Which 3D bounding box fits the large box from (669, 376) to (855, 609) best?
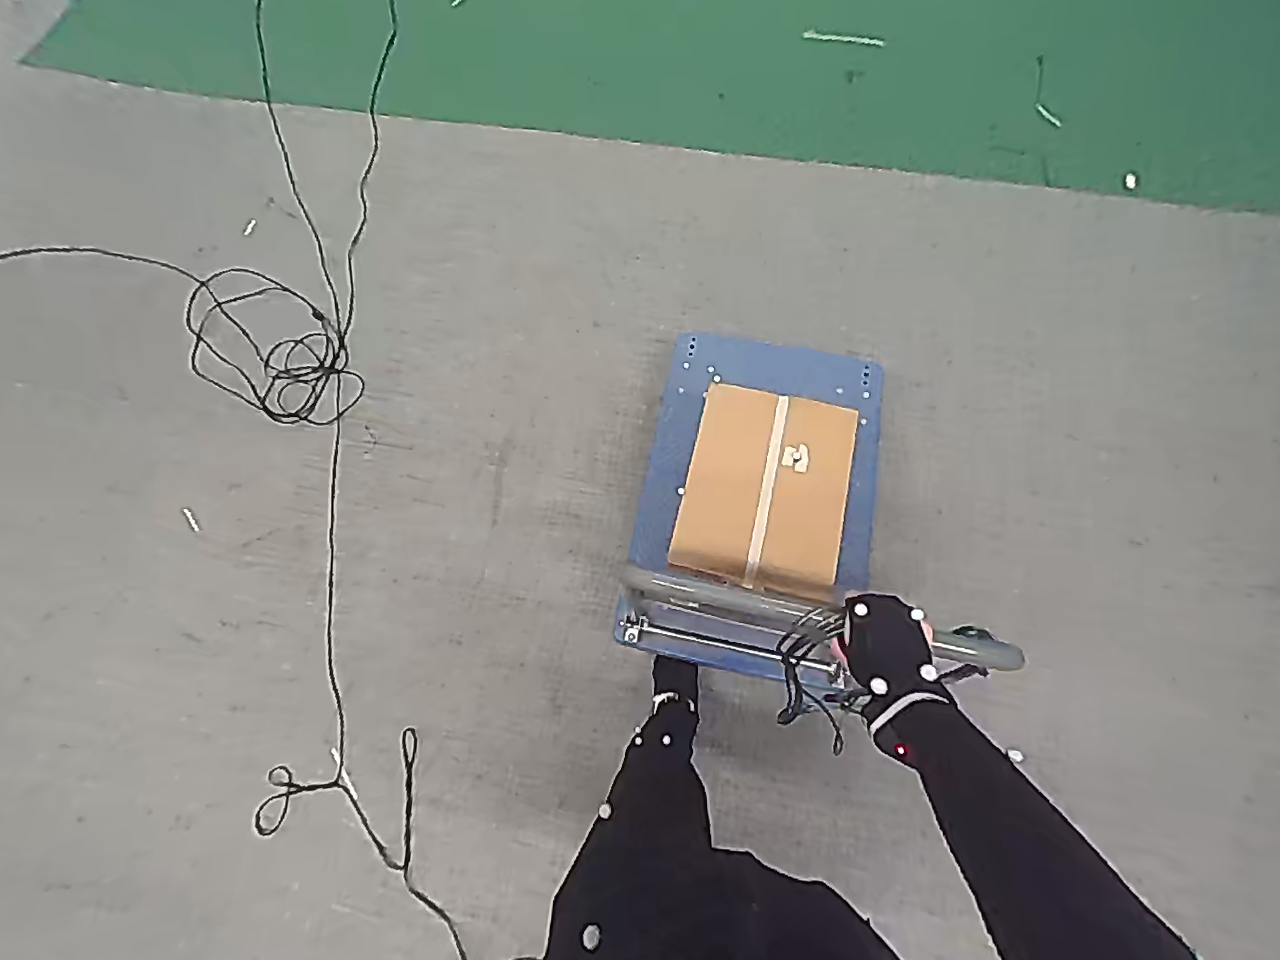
[{"bbox_3d":[0.254,0.044,1.203,0.320,0.320,0.408,14,72,6],"label":"large box"}]
